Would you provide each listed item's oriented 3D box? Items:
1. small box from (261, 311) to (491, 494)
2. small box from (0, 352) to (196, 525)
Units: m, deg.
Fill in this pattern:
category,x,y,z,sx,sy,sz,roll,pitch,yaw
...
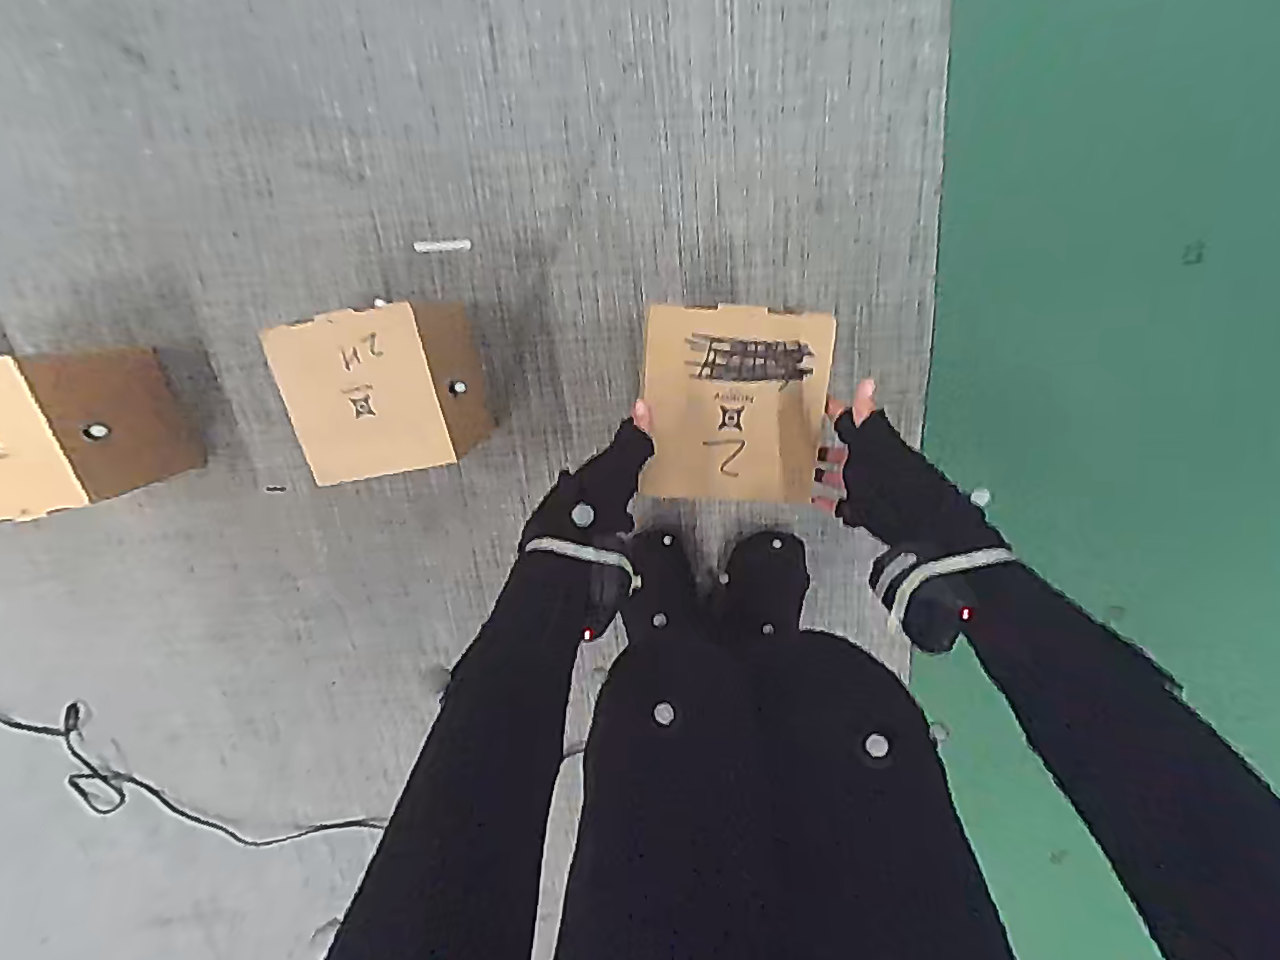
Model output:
category,x,y,z,sx,sy,sz,roll,pitch,yaw
small box,-0.293,-0.101,0.647,0.168,0.176,0.179,-9,107,3
small box,-0.716,-0.058,0.669,0.168,0.176,0.179,-10,107,4
